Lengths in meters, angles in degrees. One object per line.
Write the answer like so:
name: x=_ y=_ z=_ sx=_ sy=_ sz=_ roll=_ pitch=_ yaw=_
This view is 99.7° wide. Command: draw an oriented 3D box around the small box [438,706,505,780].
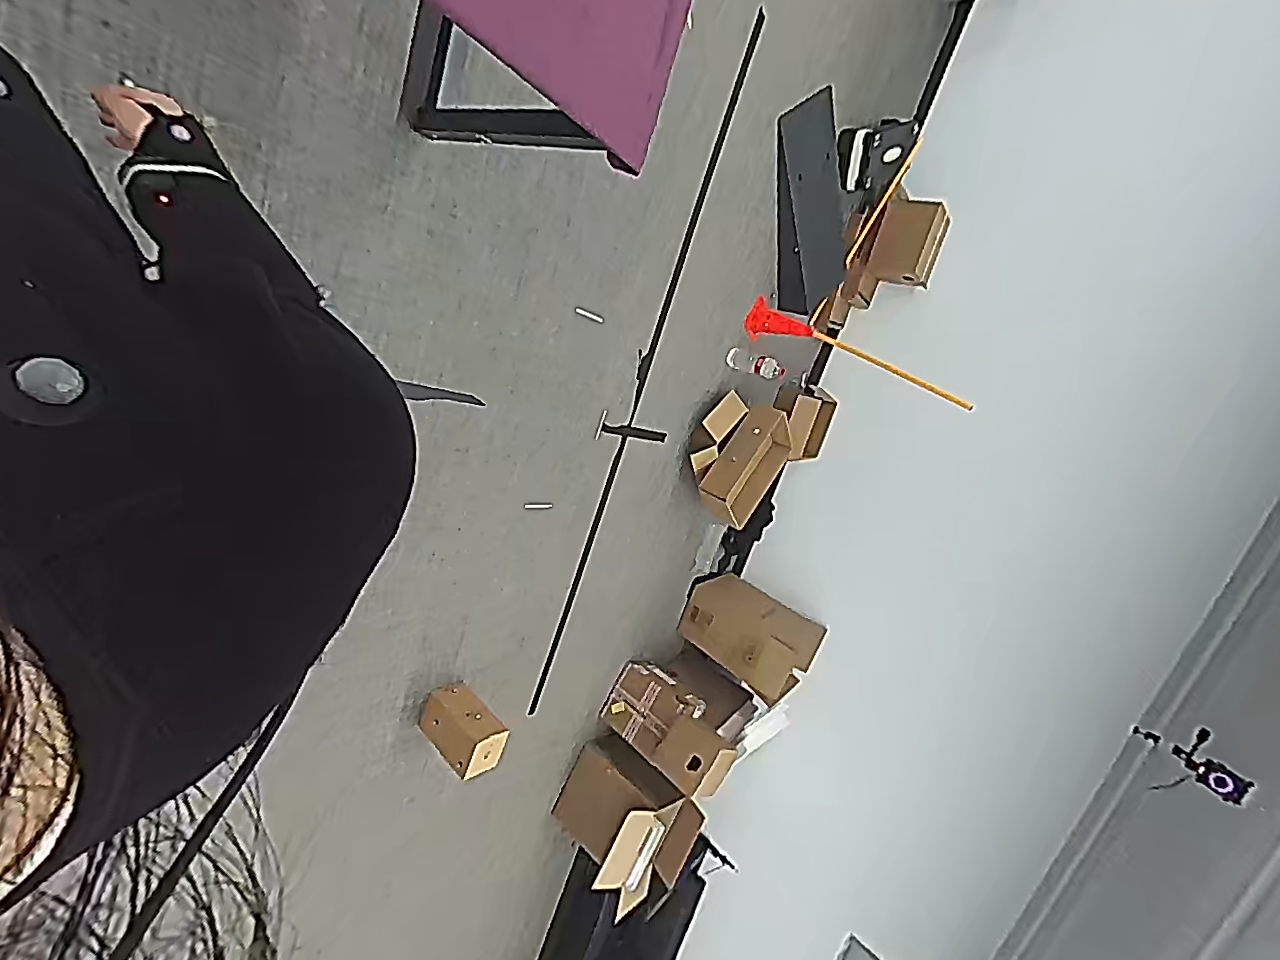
small box: x=-0.672 y=1.037 z=2.147 sx=0.168 sy=0.176 sz=0.179 roll=8 pitch=105 yaw=-57
